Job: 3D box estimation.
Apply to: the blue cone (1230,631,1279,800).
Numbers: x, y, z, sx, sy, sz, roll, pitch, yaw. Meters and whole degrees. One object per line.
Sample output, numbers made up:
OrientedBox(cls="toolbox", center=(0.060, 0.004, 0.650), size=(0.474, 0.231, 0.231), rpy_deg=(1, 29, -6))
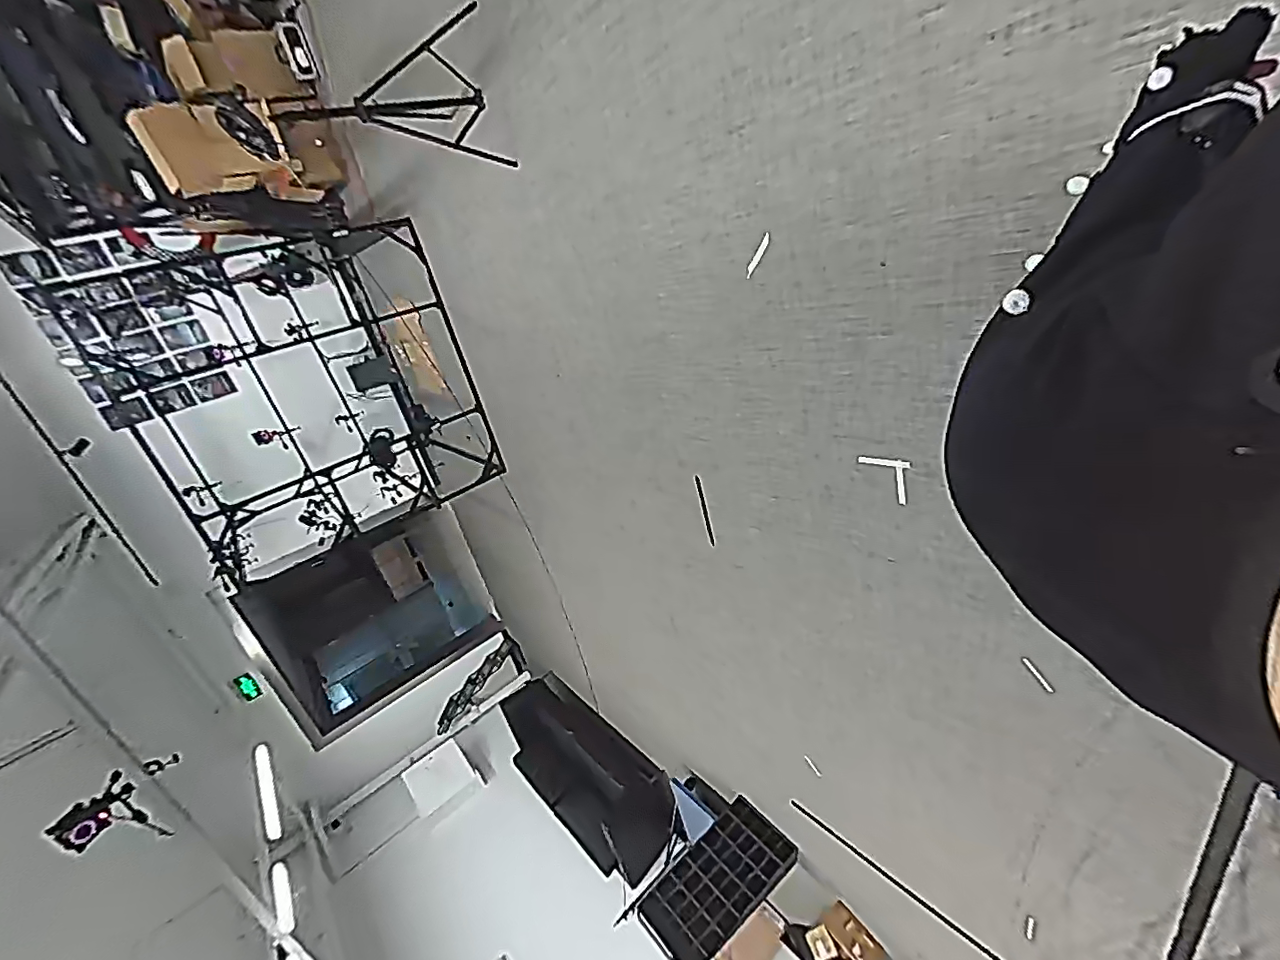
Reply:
OrientedBox(cls="blue cone", center=(1.319, 0.505, 1.090), size=(0.192, 0.380, 0.193), rpy_deg=(34, 140, 39))
